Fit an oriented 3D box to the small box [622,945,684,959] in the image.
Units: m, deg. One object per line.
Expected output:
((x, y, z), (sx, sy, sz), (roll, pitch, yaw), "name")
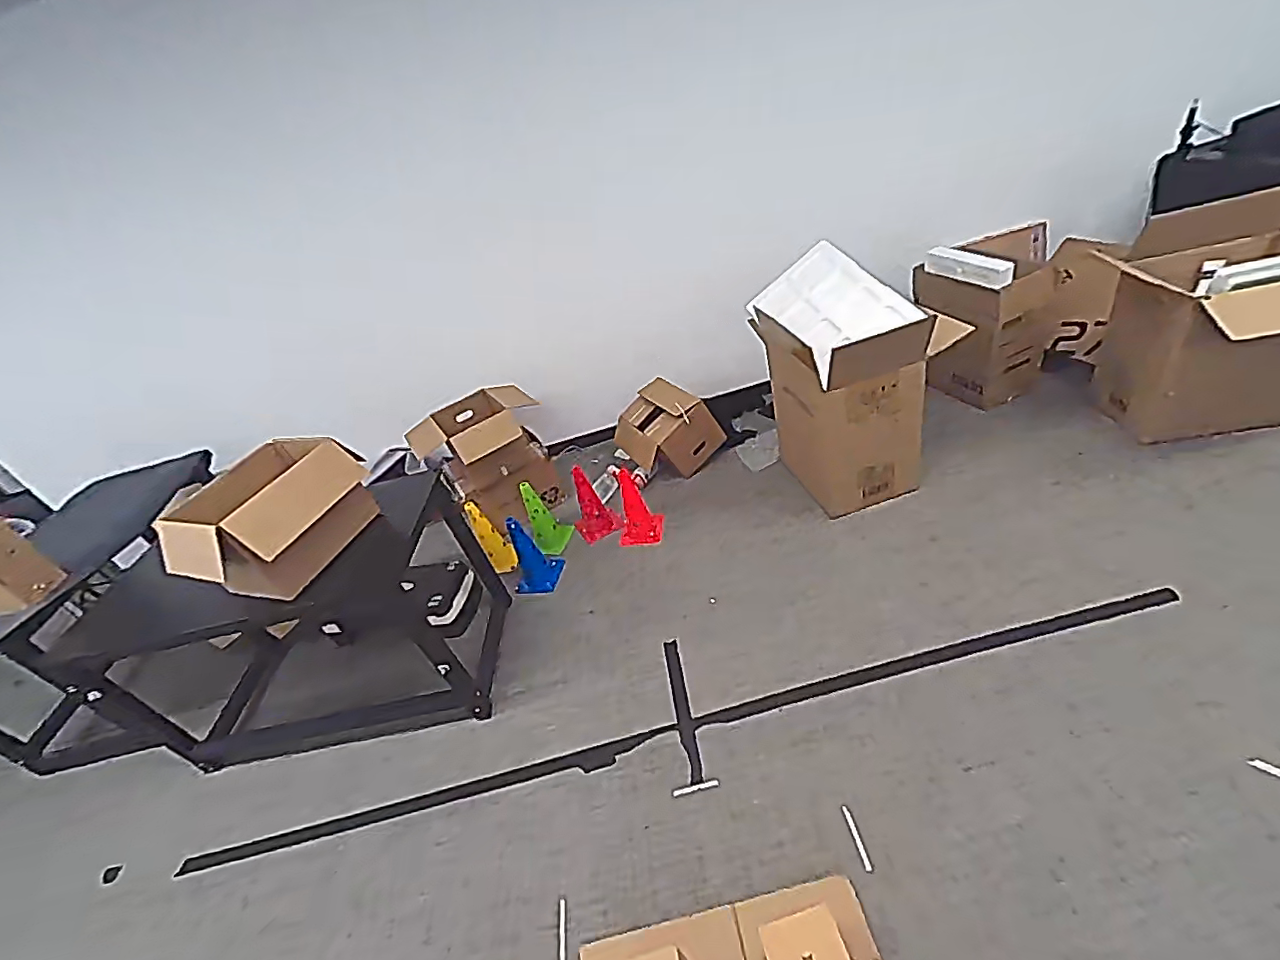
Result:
((0.034, 1.148, 1.156), (0.168, 0.176, 0.179), (-18, 35, 2), "small box")

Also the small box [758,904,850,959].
((0.365, 1.056, 1.149), (0.168, 0.176, 0.179), (-19, 35, -2), "small box")
